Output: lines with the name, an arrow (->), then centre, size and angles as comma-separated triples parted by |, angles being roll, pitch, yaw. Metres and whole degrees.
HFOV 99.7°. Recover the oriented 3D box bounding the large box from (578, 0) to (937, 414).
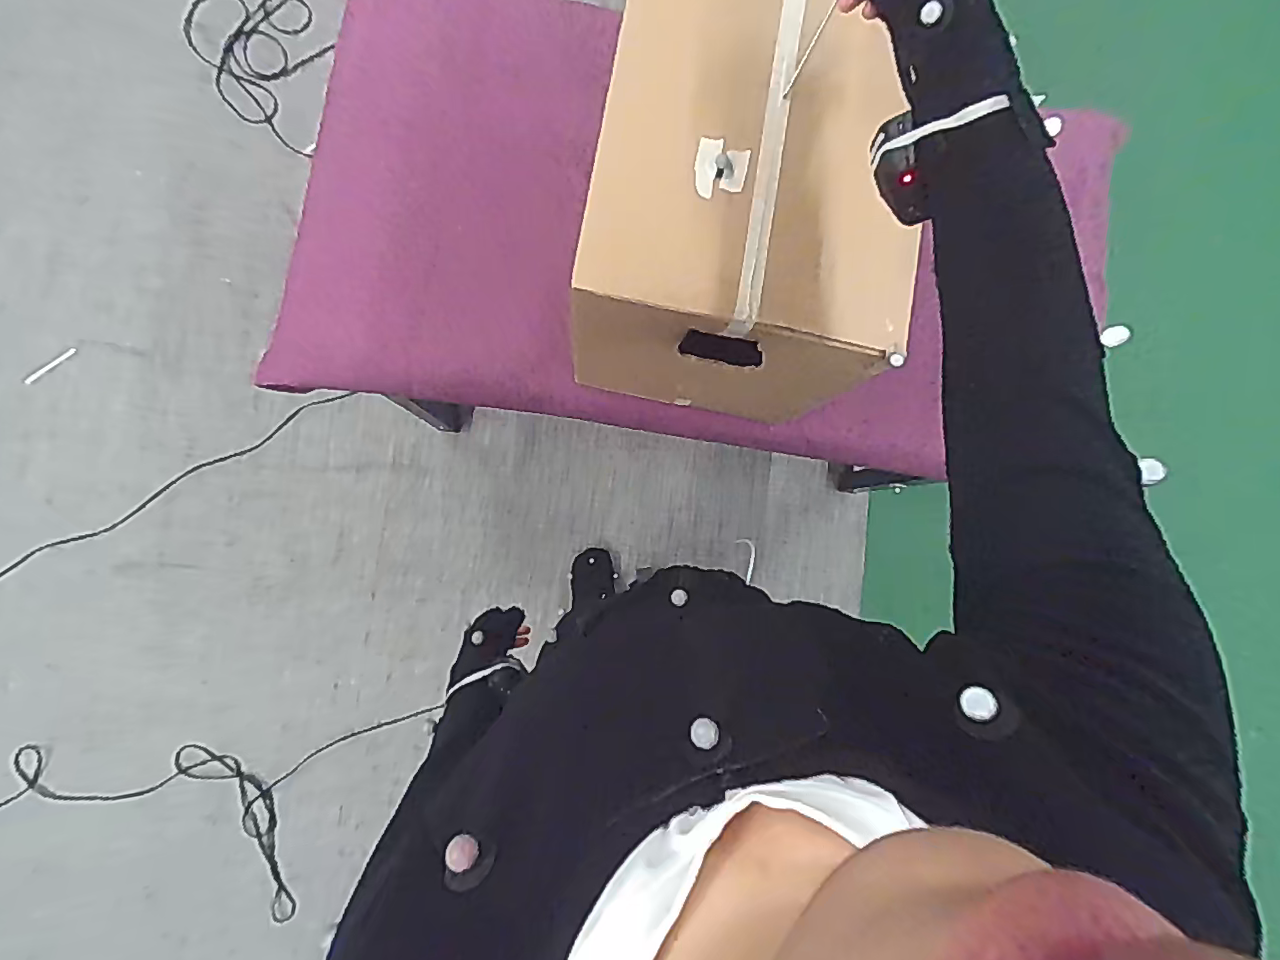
large box -> 0.108, -0.329, 0.667 | 0.320, 0.320, 0.408 | 11, 85, -5
